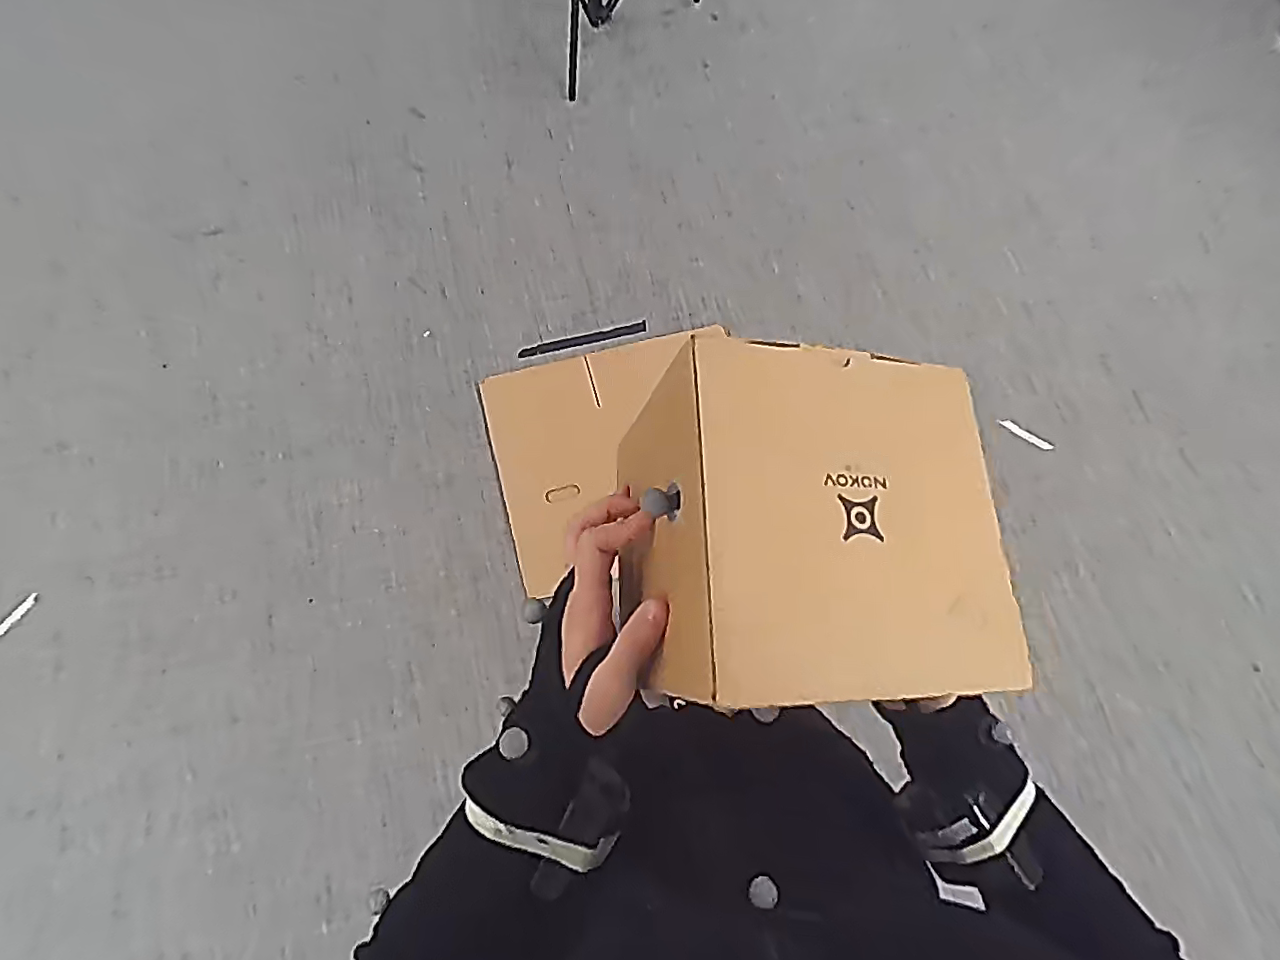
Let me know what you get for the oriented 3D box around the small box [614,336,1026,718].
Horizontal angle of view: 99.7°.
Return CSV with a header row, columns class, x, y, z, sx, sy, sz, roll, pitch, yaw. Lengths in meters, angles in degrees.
class,x,y,z,sx,sy,sz,roll,pitch,yaw
small box,0.081,0.038,0.333,0.168,0.176,0.179,3,72,-14
